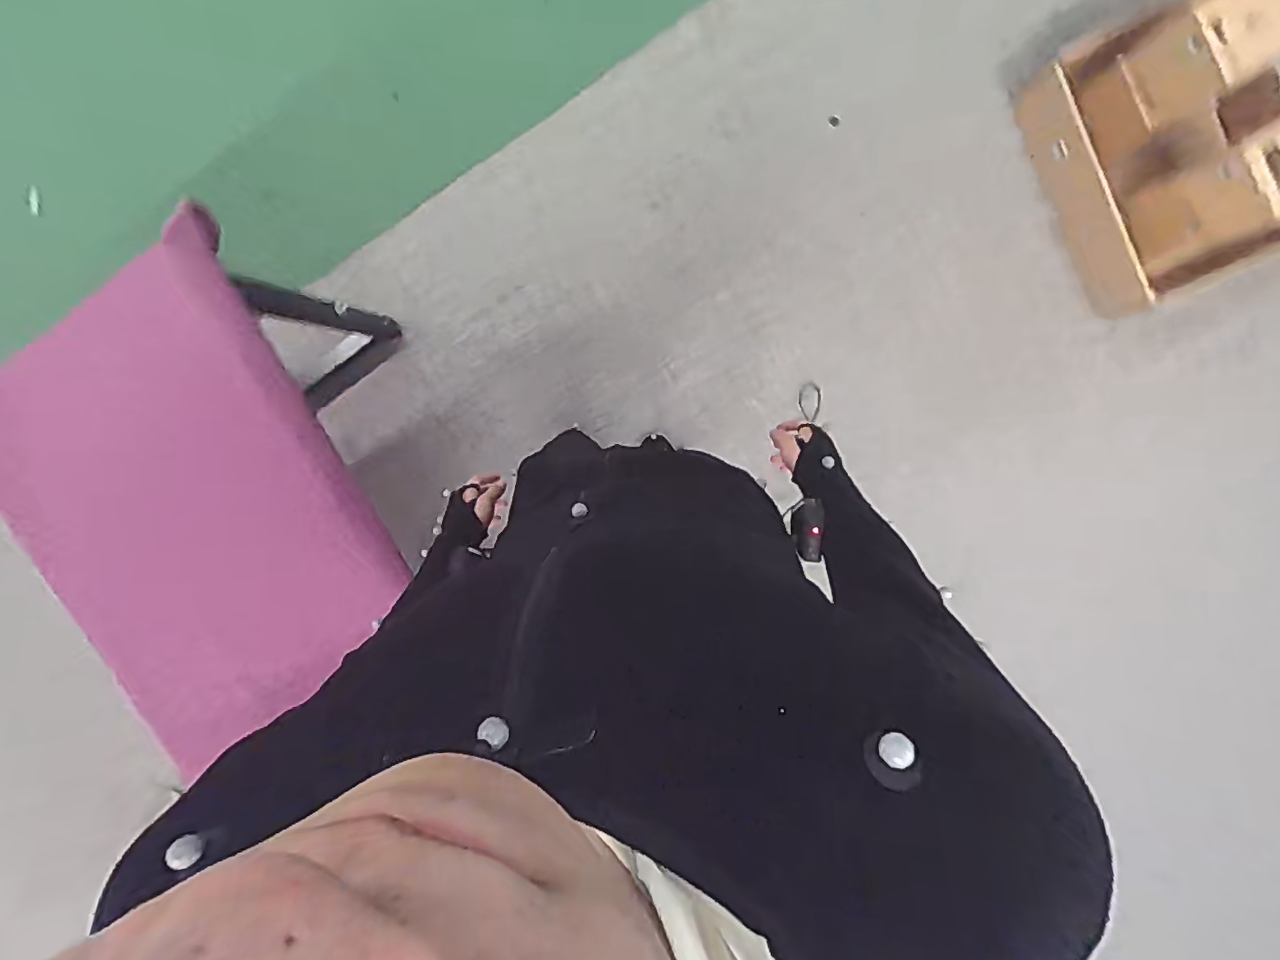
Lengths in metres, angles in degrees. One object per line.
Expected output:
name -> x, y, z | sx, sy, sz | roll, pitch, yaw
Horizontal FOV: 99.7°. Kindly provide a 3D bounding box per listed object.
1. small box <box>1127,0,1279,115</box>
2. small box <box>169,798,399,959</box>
small box -> 1.144, -0.885, 1.073 | 0.179, 0.176, 0.168 | -29, 93, 7
small box -> -0.488, 0.607, 0.769 | 0.179, 0.176, 0.168 | -37, 93, 9
